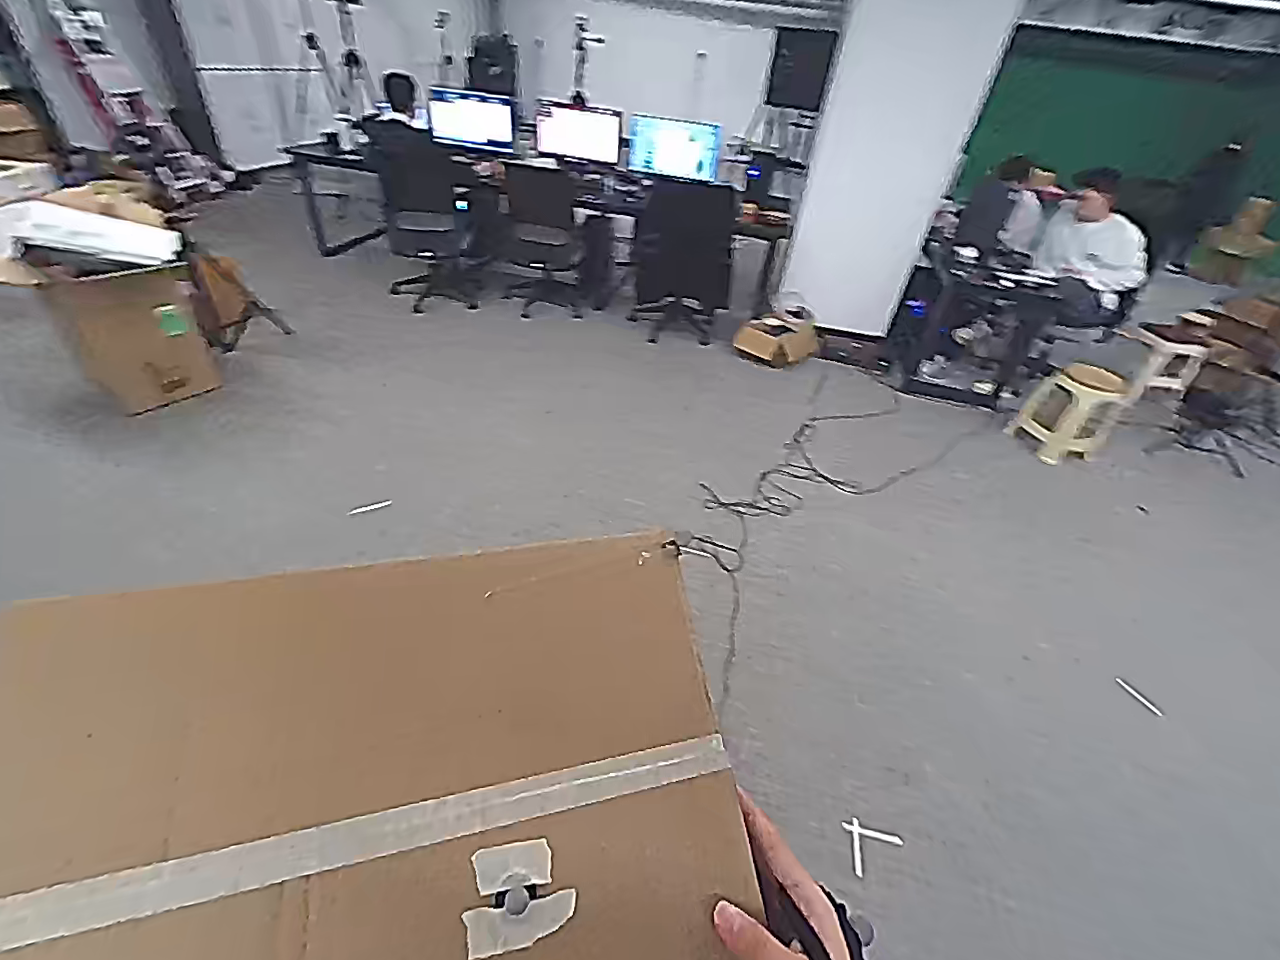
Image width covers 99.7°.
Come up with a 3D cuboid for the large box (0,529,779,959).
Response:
[{"bbox_3d":[-0.162,0.257,0.445,0.408,0.320,0.320,-4,64,-15],"label":"large box"}]
